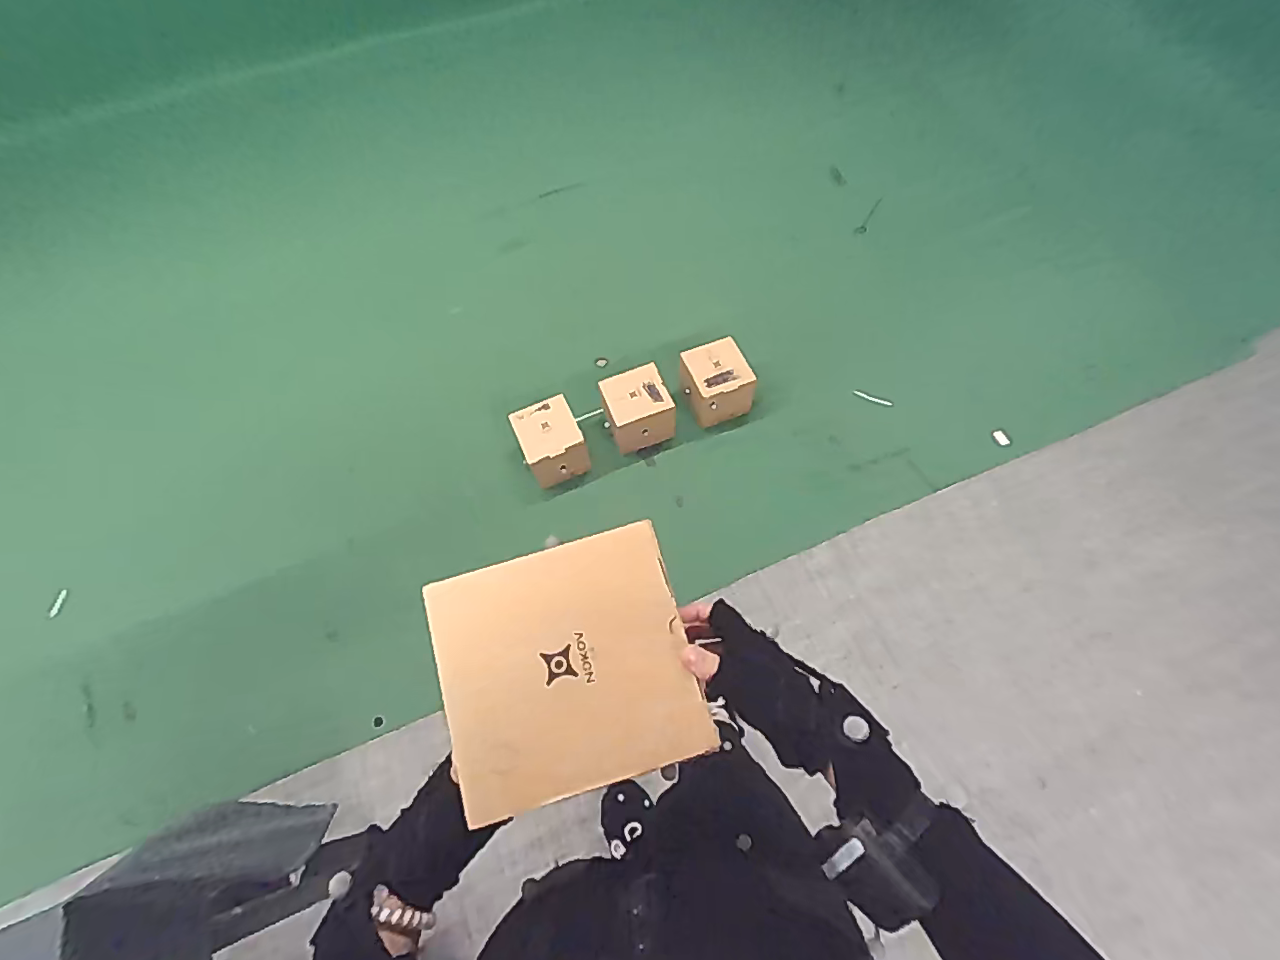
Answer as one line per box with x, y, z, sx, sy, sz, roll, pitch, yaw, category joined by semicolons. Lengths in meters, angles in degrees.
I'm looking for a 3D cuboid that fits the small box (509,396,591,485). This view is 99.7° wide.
-0.251;-0.103;1.543;0.168;0.176;0.179;-23;66;-8;small box
